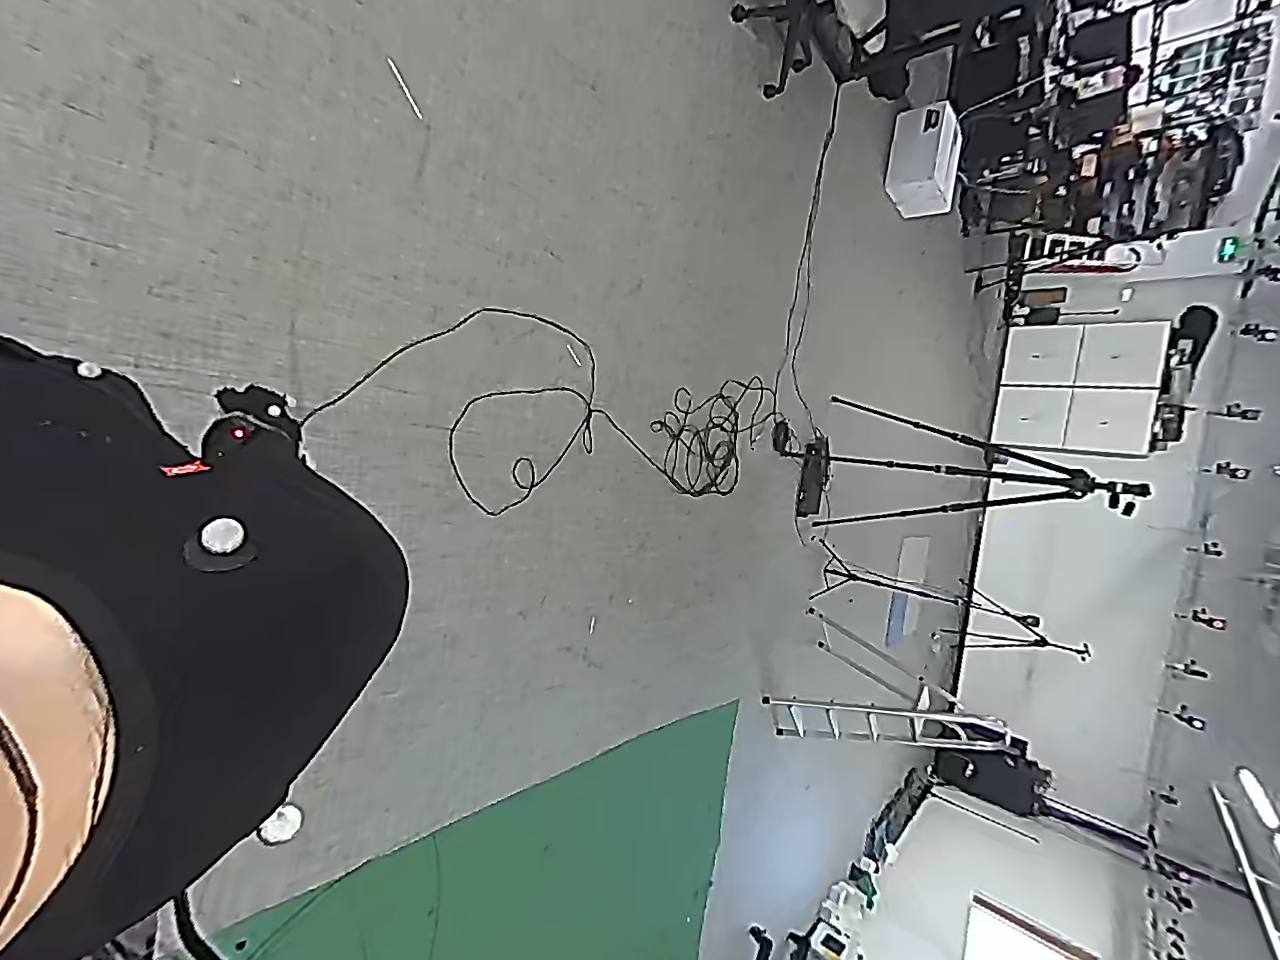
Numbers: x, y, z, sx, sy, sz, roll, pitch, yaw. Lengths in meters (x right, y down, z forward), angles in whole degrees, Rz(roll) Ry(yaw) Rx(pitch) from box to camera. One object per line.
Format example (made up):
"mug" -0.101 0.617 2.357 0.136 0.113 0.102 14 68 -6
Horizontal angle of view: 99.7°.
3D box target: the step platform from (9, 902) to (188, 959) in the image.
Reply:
"step platform" -1.111 0.963 0.795 0.684 0.204 0.286 5 93 -51
